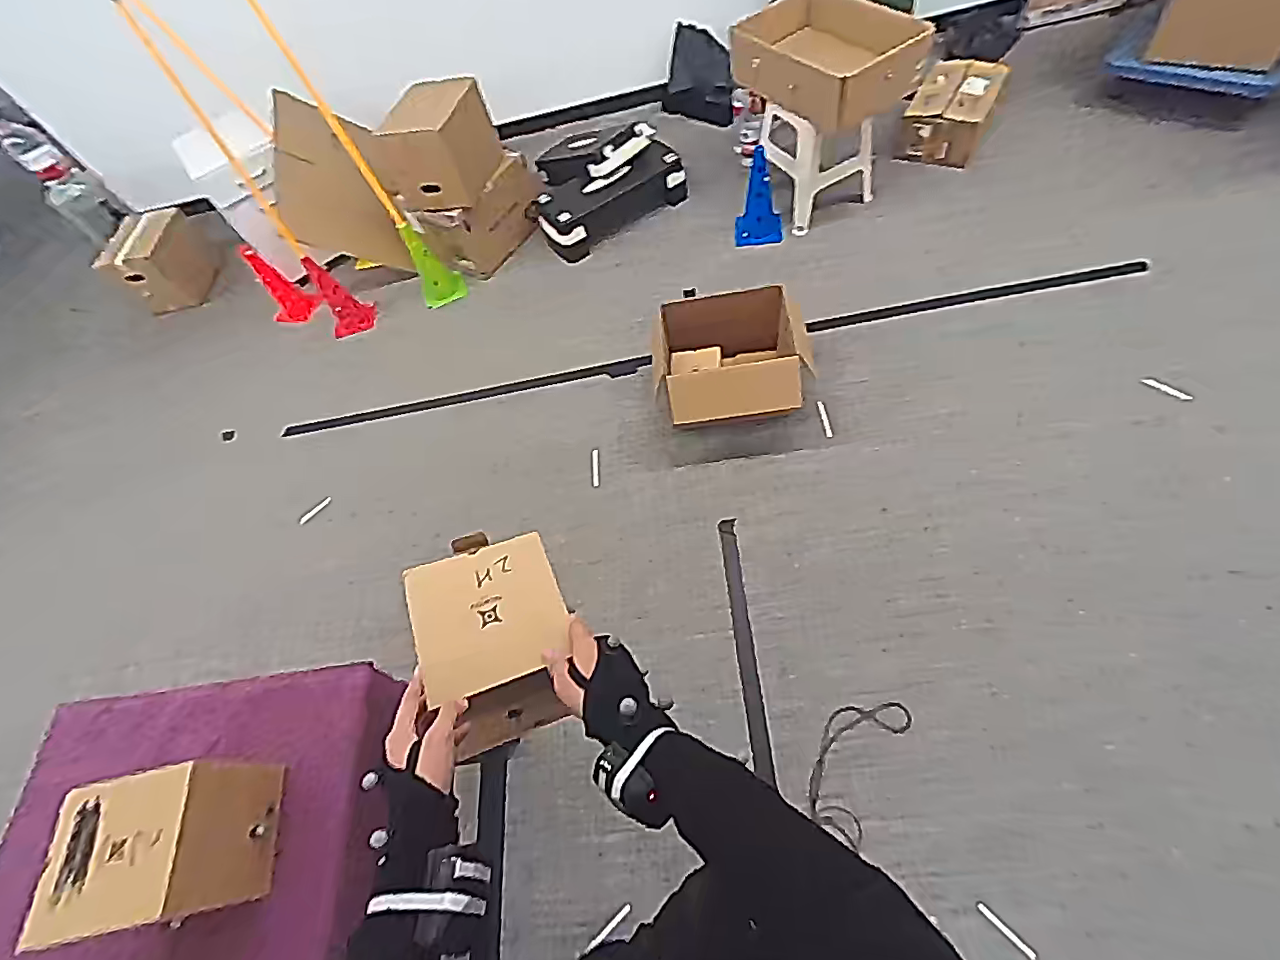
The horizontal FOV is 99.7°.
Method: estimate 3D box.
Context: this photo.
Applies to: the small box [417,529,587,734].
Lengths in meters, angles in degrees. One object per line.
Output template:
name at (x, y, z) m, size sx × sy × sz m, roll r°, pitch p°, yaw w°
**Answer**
small box at (-0.168, 0.196, 0.682) m, size 0.168 × 0.176 × 0.179 m, roll -14°, pitch 50°, yaw -18°
